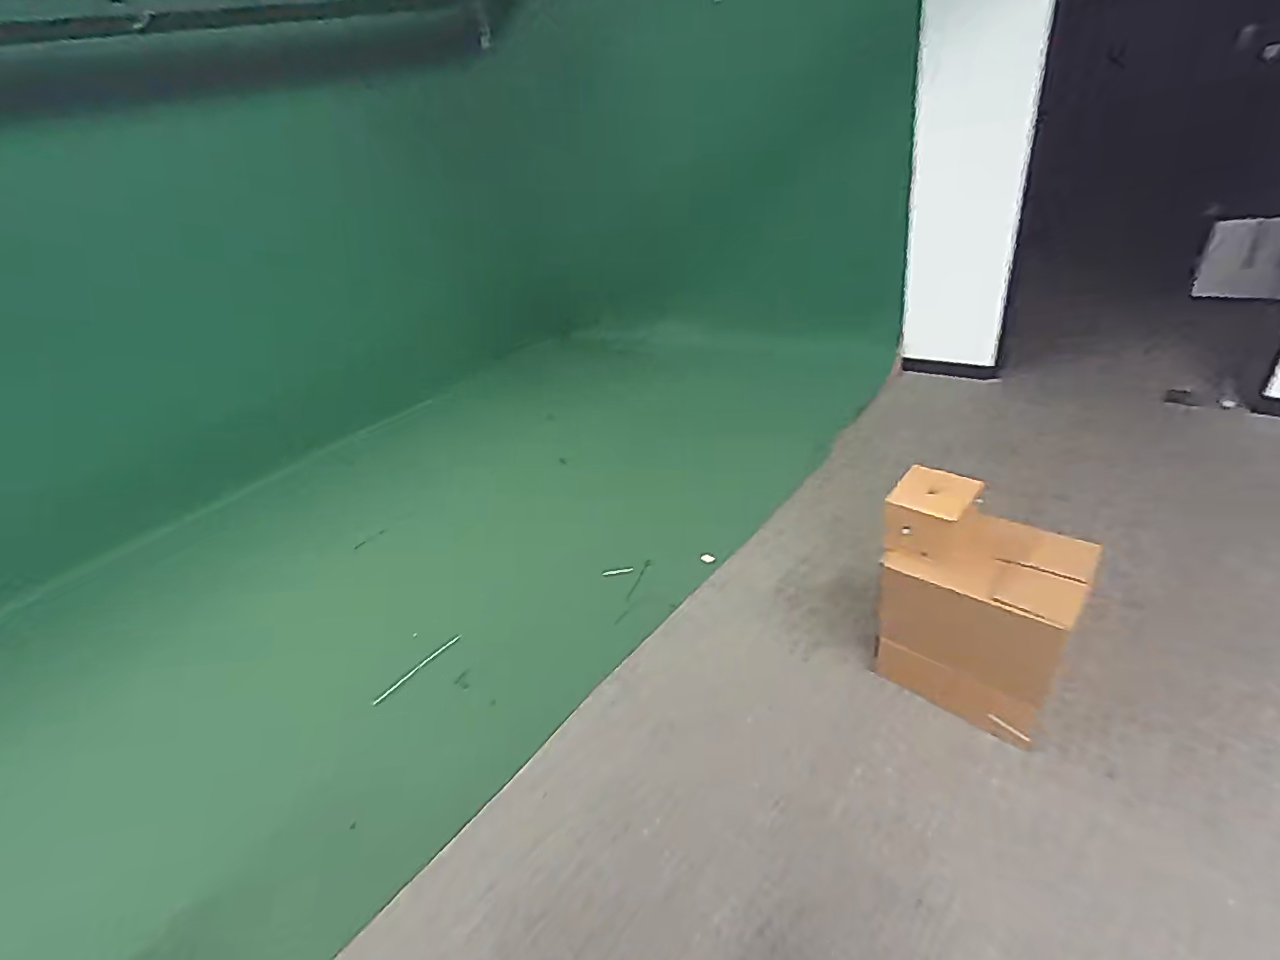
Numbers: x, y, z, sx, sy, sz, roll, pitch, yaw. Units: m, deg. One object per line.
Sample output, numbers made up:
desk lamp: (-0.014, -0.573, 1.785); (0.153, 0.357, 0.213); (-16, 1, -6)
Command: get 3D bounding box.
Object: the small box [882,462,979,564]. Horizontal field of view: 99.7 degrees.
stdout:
small box: (0.742, 0.086, 1.391); (0.168, 0.176, 0.179); (23, 49, 40)
